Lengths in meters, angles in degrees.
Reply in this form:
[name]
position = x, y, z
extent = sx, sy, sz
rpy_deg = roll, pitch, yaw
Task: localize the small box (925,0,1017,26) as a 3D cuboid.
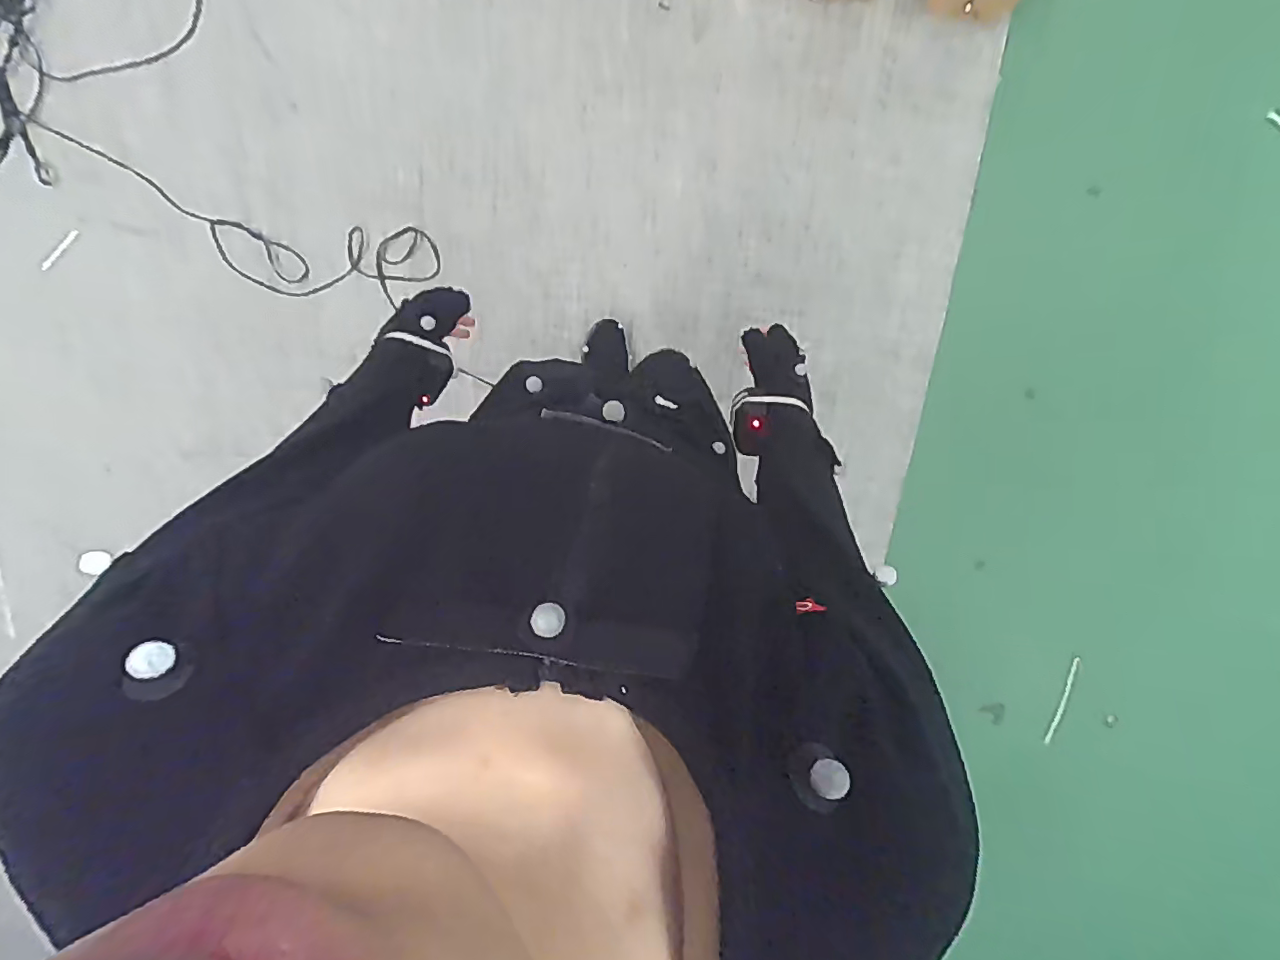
[small box]
position = 0.732, -1.111, 1.136
extent = 0.168, 0.176, 0.179
rpy_deg = 5, 105, -2
